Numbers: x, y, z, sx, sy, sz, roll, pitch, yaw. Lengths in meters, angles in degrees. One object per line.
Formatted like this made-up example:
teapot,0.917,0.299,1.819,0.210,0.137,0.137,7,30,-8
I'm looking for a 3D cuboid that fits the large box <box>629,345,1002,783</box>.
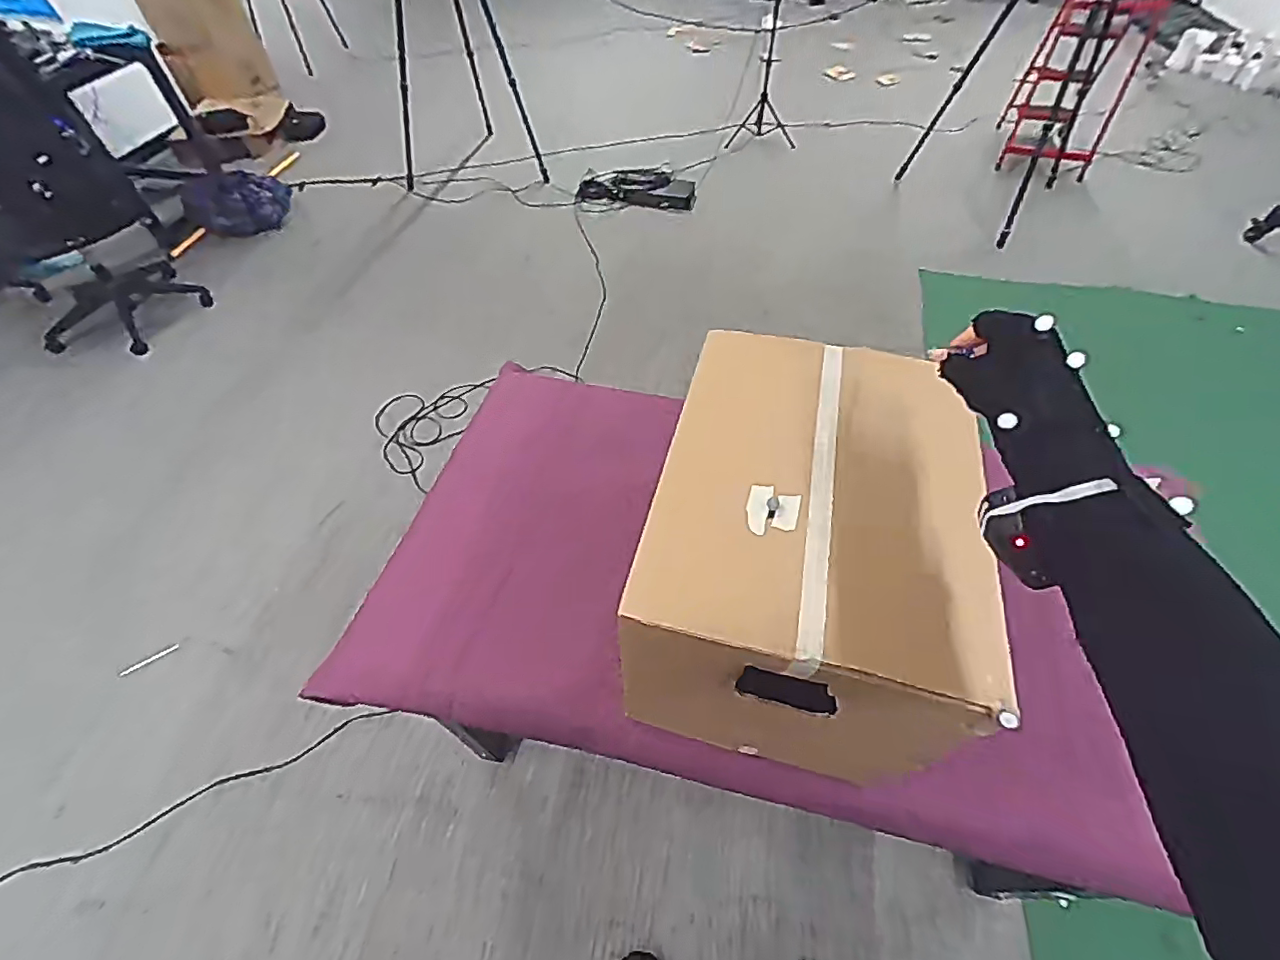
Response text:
large box,0.185,0.097,0.678,0.320,0.320,0.408,12,53,10
